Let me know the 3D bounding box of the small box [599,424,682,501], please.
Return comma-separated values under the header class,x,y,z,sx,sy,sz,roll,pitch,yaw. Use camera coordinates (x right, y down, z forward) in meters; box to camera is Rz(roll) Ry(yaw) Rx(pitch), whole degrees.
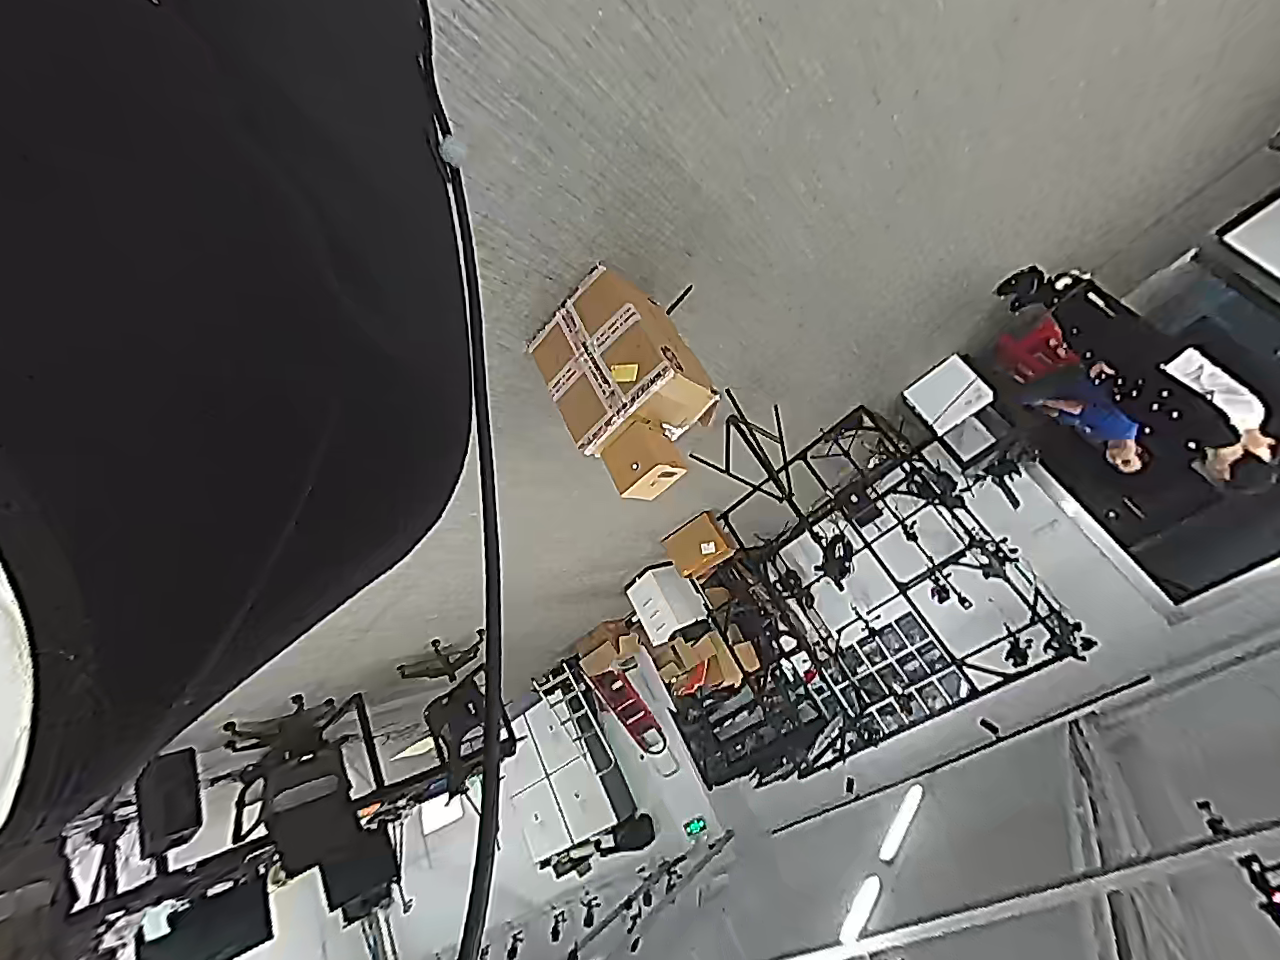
class,x,y,z,sx,sy,sz,roll,pitch,yaw
small box,-0.003,-0.055,1.727,0.179,0.176,0.168,-40,152,26
